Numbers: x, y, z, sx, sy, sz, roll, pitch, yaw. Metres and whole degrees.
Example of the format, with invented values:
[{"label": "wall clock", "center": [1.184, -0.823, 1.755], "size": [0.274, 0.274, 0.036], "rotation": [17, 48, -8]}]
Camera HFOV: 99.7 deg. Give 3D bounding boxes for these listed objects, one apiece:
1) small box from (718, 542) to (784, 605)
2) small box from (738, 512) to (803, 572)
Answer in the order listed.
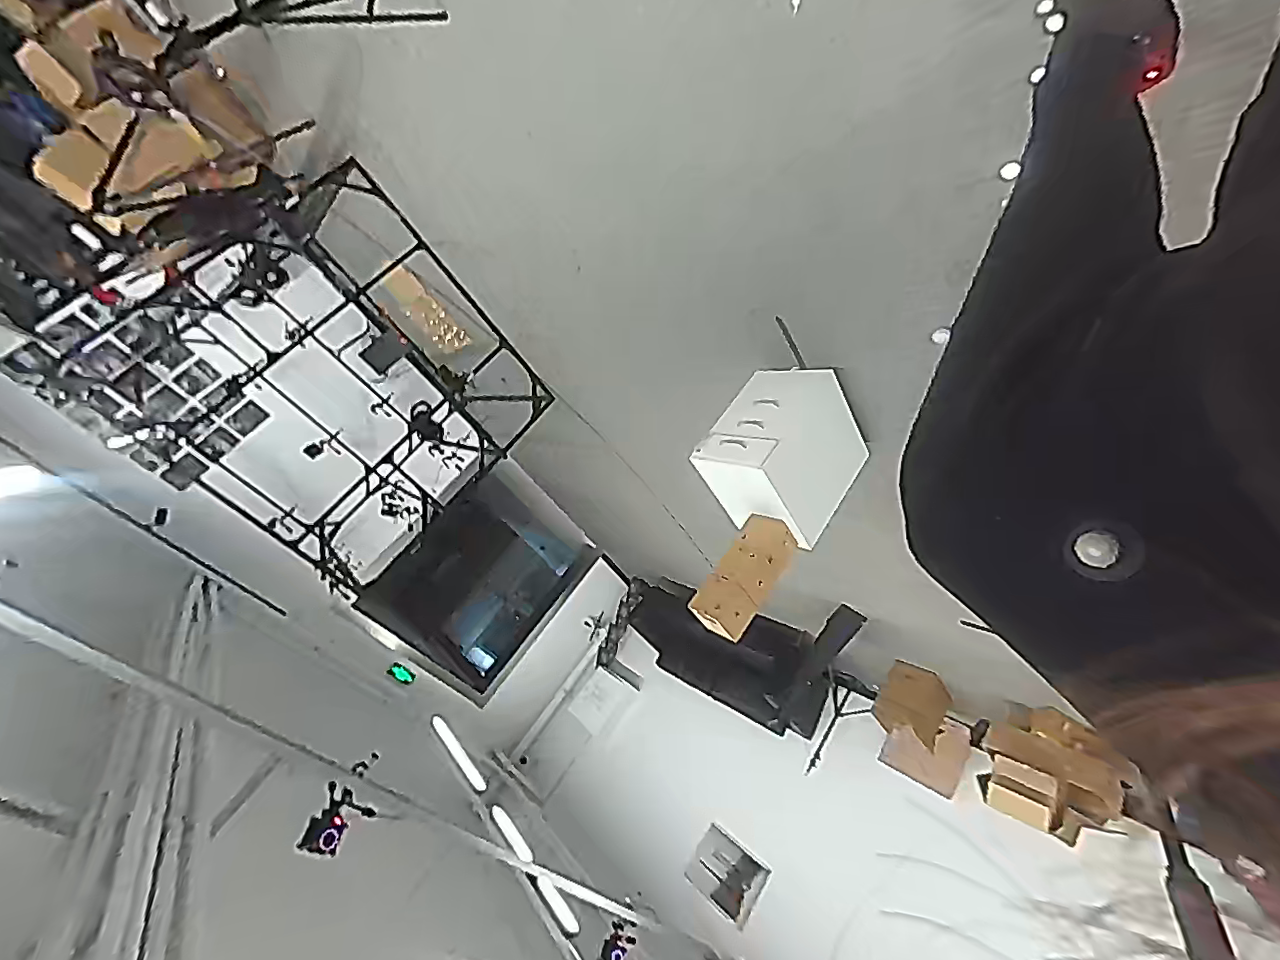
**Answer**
[{"label": "small box", "center": [0.458, 0.379, 2.226], "size": [0.168, 0.176, 0.179], "rotation": [14, 150, 53]}, {"label": "small box", "center": [0.553, 0.257, 2.282], "size": [0.179, 0.176, 0.168], "rotation": [13, 148, 53]}]
